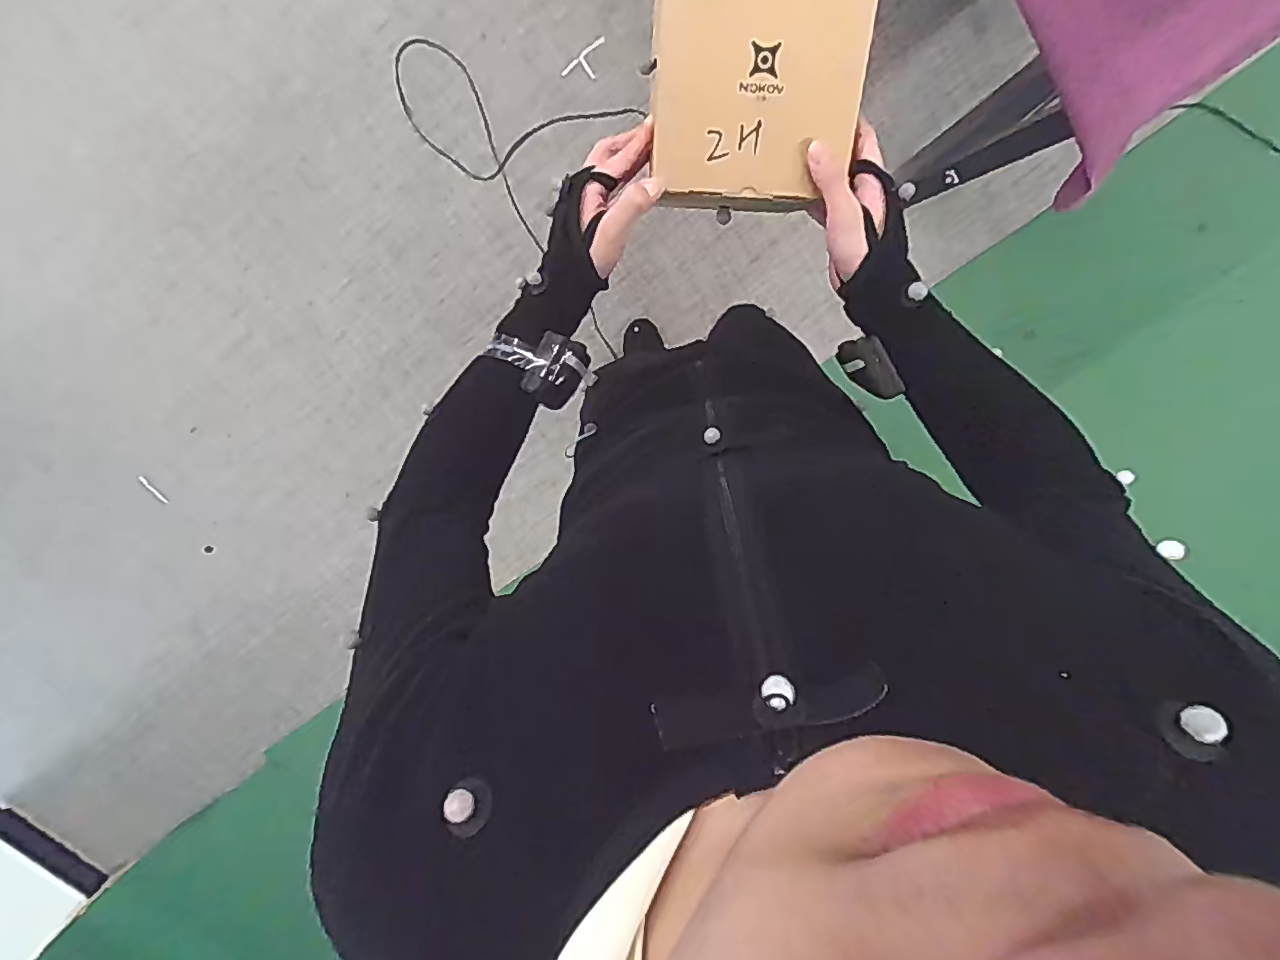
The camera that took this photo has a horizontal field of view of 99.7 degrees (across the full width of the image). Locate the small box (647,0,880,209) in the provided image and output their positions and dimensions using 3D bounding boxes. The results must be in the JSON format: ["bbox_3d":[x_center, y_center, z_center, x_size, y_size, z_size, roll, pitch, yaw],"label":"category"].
[{"bbox_3d":[0.094,-0.355,0.492,0.168,0.176,0.179,3,113,-2],"label":"small box"}]
